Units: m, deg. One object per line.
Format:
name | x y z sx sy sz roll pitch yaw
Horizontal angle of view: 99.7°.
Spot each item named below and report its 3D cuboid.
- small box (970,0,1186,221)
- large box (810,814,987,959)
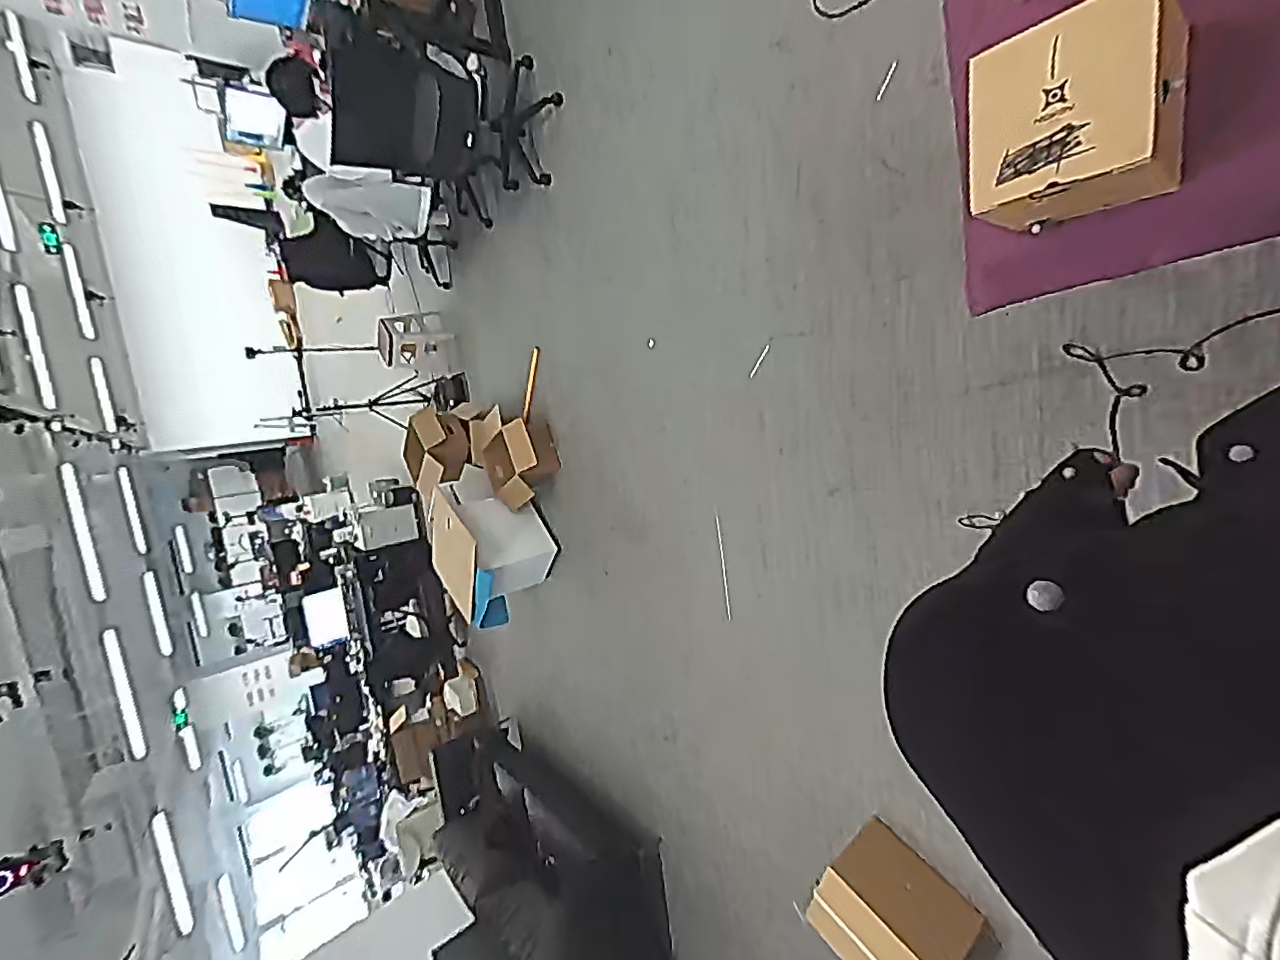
small box | 0.509 -0.419 0.631 0.168 0.176 0.179 4 102 51
large box | 0.865 1.465 1.839 0.408 0.320 0.320 32 125 41
